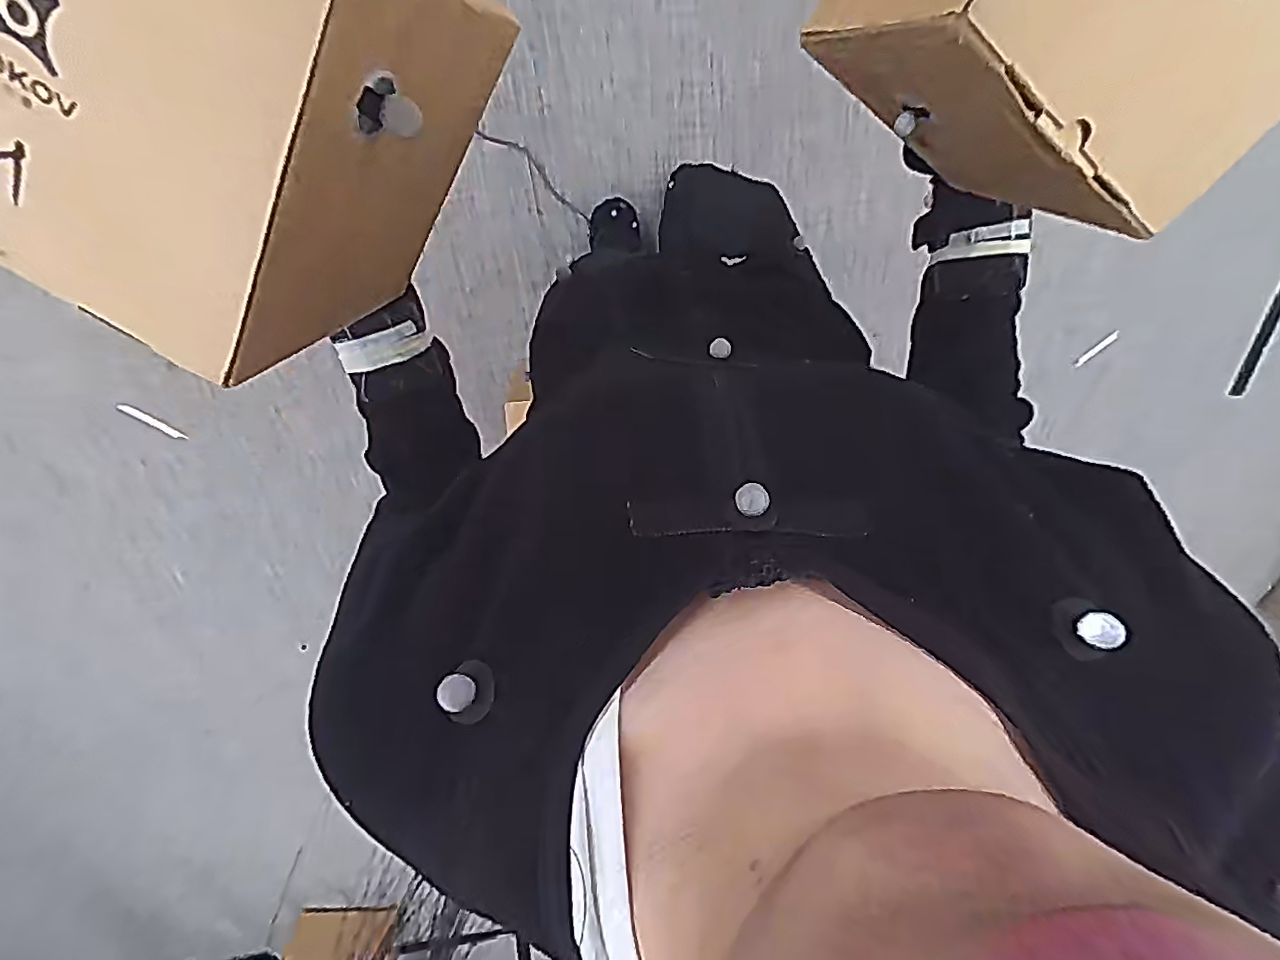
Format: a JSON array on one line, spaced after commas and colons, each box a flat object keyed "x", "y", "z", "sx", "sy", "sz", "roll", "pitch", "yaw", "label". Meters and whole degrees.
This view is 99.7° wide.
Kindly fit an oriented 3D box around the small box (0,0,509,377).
[{"x": -0.177, "y": -0.185, "z": 0.237, "sx": 0.168, "sy": 0.176, "sz": 0.179, "roll": 33, "pitch": 120, "yaw": -14, "label": "small box"}]

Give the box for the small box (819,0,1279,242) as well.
[{"x": 0.226, "y": -0.260, "z": 0.269, "sx": 0.168, "sy": 0.176, "sz": 0.179, "roll": 22, "pitch": 121, "yaw": -25, "label": "small box"}]
